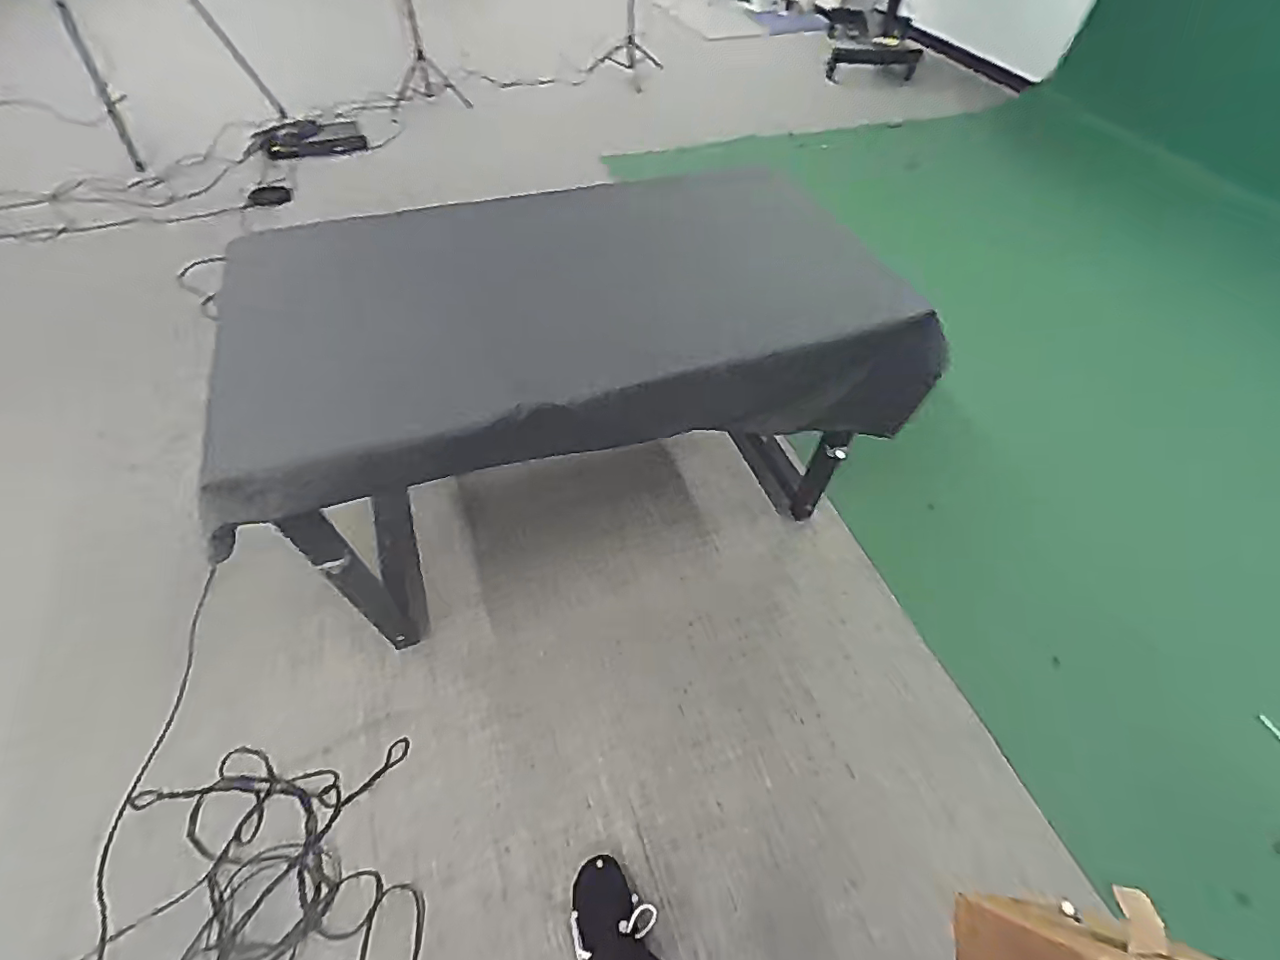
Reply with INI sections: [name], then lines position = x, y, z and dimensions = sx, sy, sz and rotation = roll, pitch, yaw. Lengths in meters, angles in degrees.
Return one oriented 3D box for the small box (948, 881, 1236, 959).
[small box]
position = 0.424, 0.514, 0.508
dimensions = 0.168, 0.176, 0.179
rotation = 12, 66, -10
